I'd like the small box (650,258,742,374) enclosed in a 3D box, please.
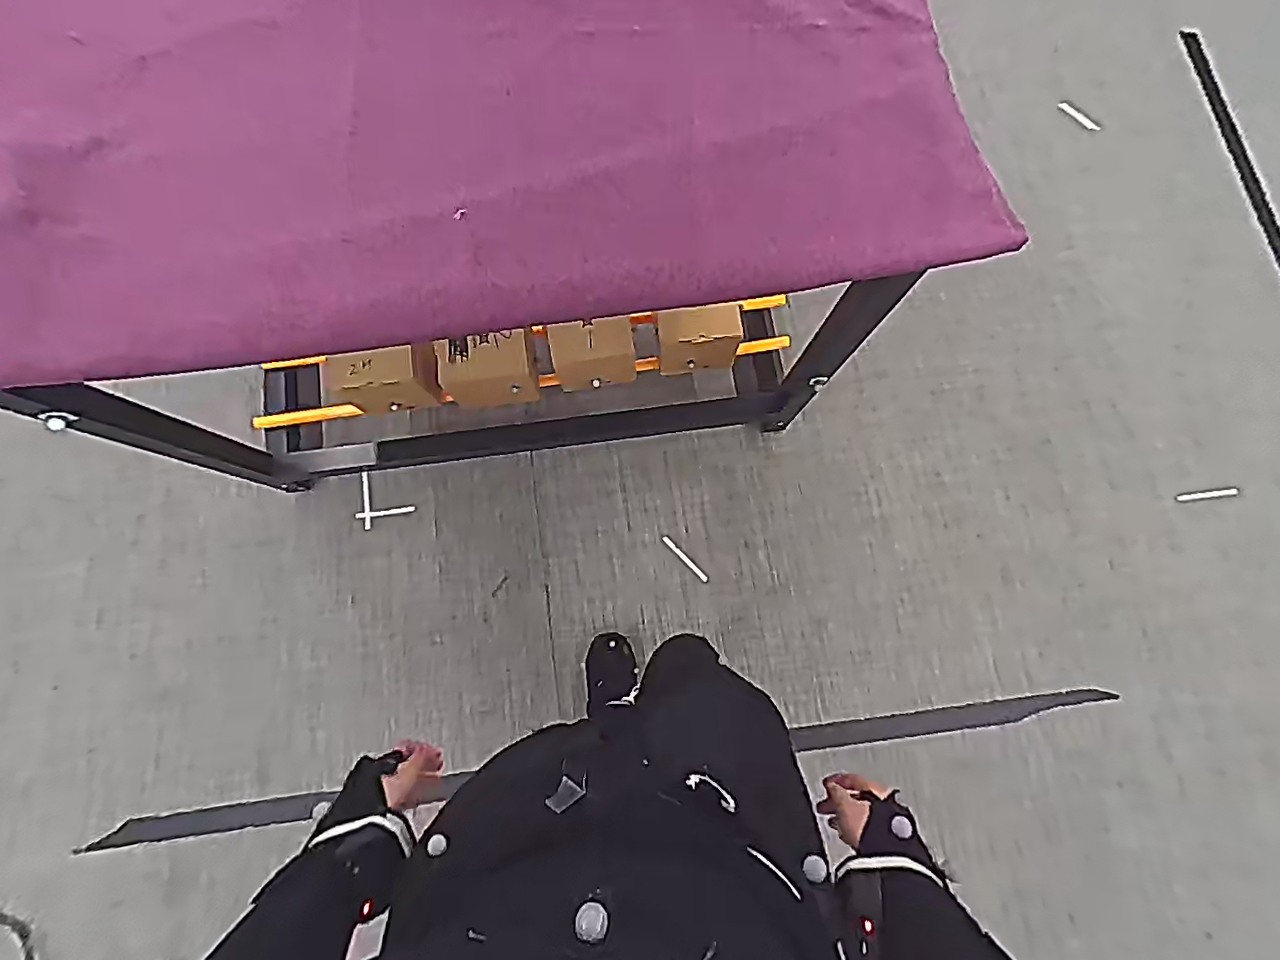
[{"bbox_3d":[0.111,-0.343,1.152,0.168,0.176,0.179,-6,80,-1],"label":"small box"}]

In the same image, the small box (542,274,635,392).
[{"bbox_3d":[-0.106,-0.305,1.144,0.168,0.176,0.179,-9,82,-2],"label":"small box"}]

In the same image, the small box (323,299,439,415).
[{"bbox_3d":[-0.528,-0.249,1.121,0.168,0.176,0.179,-7,80,-3],"label":"small box"}]
